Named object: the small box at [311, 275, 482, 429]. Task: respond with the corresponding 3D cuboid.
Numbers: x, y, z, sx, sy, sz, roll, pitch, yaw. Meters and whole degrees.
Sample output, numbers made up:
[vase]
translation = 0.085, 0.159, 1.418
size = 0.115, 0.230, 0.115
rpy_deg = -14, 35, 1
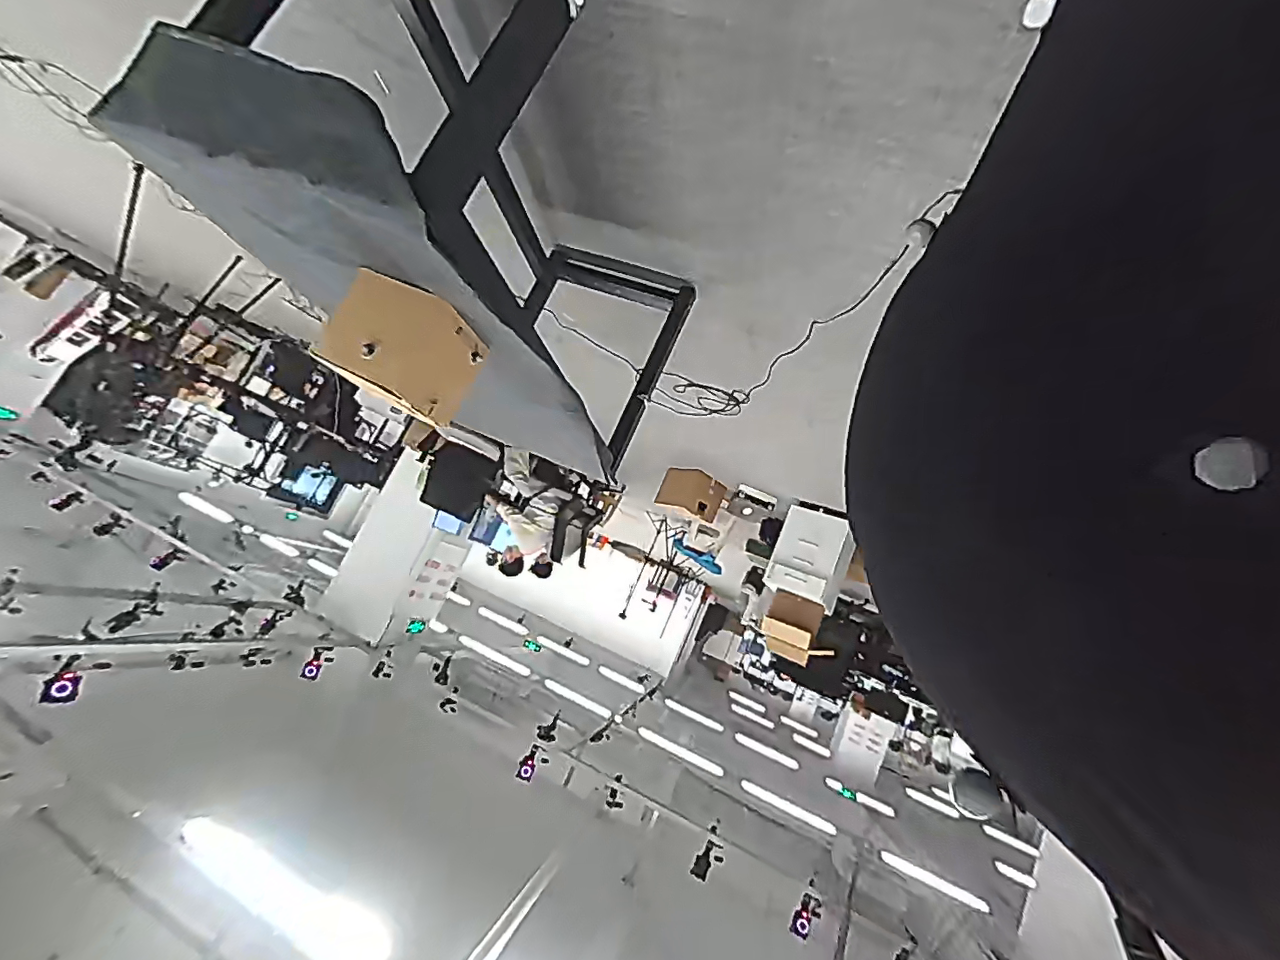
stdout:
[small box]
translation = -0.390, -0.212, 0.905
size = 0.179, 0.176, 0.168
rpy_deg = 24, 170, 14
